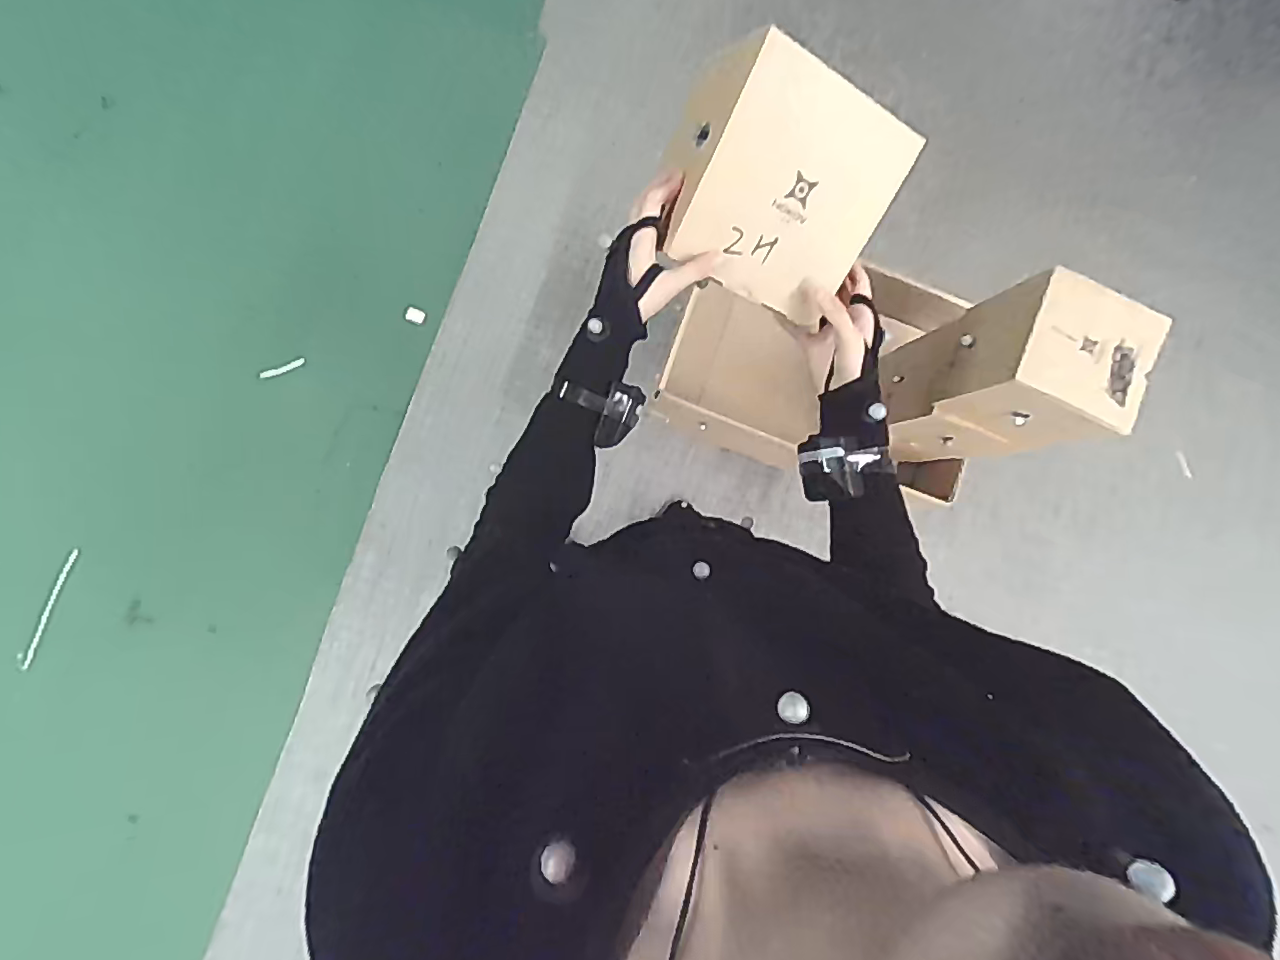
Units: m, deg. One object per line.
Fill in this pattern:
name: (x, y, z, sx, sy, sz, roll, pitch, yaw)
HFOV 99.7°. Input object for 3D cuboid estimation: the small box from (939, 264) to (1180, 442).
small box: (0.569, -0.161, 0.755, 0.179, 0.176, 0.168, 24, 85, -3)

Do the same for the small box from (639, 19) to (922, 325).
small box: (0.112, -0.280, 0.518, 0.168, 0.176, 0.179, 18, 115, -21)
